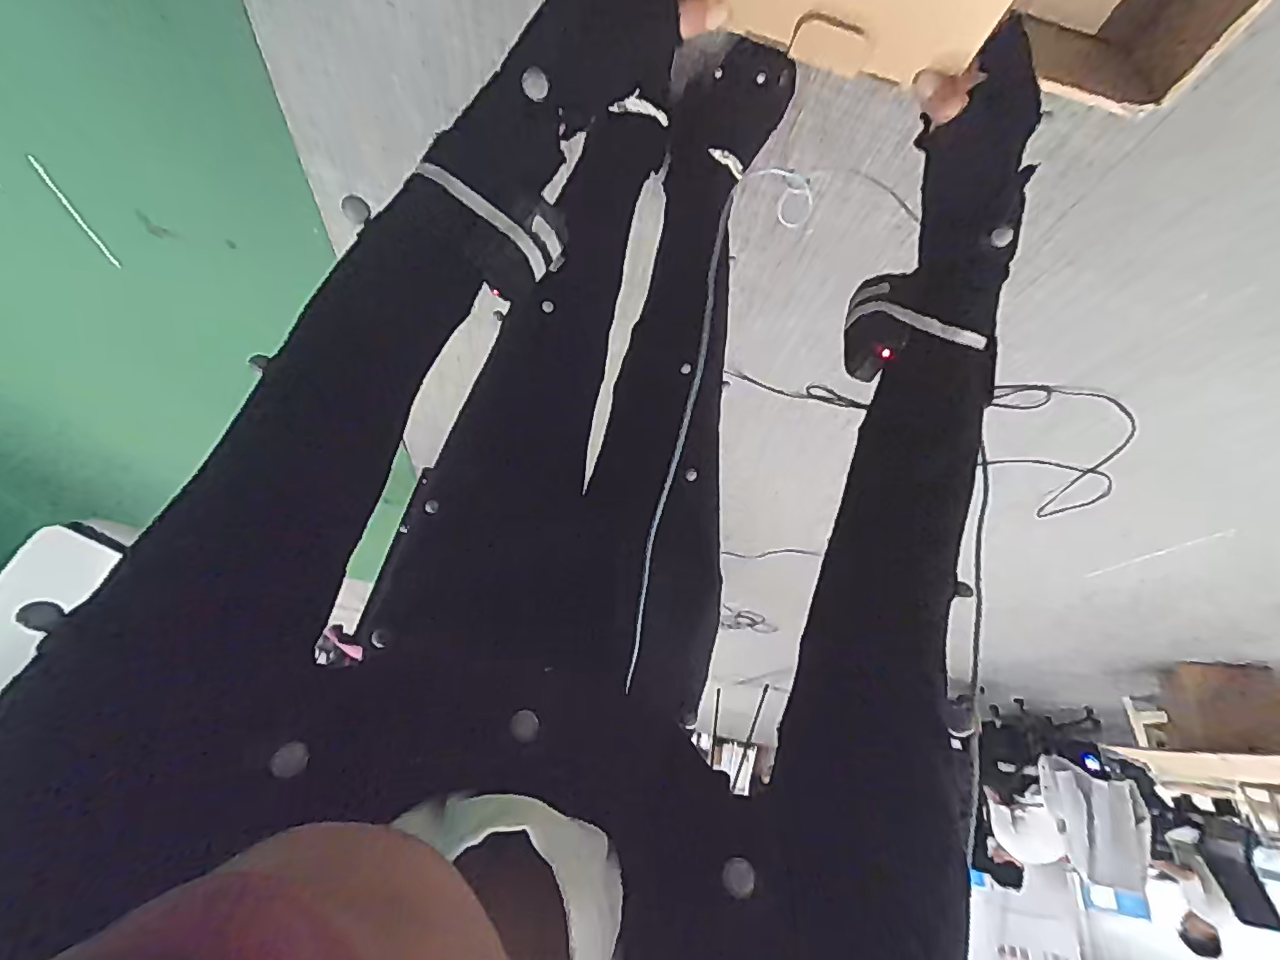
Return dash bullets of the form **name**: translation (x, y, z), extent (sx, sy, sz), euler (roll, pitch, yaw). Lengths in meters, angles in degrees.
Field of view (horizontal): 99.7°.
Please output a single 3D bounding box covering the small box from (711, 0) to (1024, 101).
- **small box**: translation (0.148, -0.361, 0.286), extent (0.168, 0.176, 0.179), euler (14, 156, -7)
